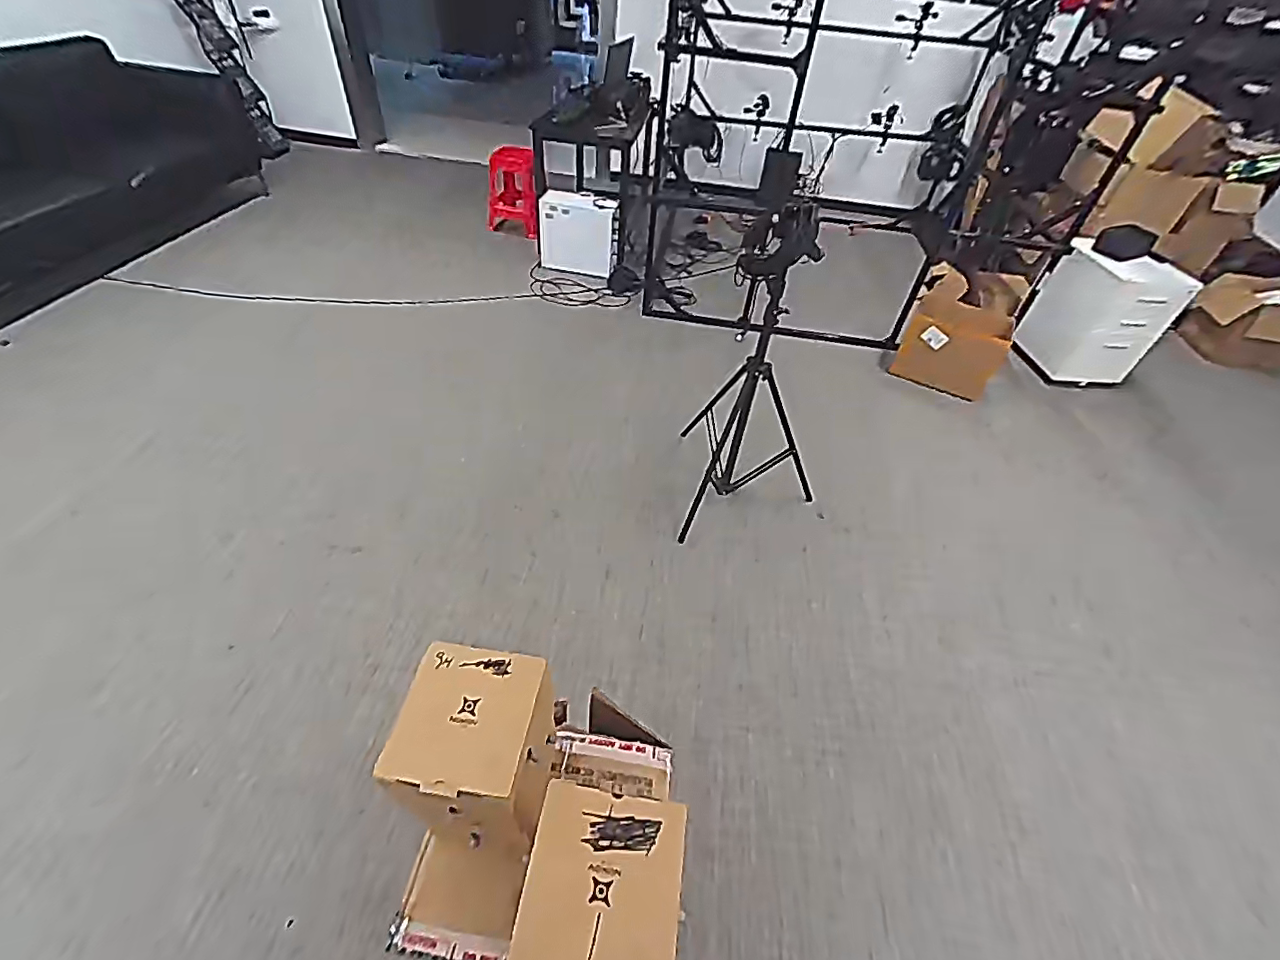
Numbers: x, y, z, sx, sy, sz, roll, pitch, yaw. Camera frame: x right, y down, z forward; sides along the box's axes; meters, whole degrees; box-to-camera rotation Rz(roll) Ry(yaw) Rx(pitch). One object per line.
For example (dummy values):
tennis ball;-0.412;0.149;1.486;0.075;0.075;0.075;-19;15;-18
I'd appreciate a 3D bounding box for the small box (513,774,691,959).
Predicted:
small box;-0.038;0.477;0.634;0.168;0.176;0.179;8;47;3

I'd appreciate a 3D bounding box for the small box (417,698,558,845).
small box;-0.229;0.455;0.865;0.168;0.176;0.179;6;46;3

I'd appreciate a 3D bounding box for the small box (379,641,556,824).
small box;-0.217;0.348;0.740;0.168;0.176;0.179;7;47;4
